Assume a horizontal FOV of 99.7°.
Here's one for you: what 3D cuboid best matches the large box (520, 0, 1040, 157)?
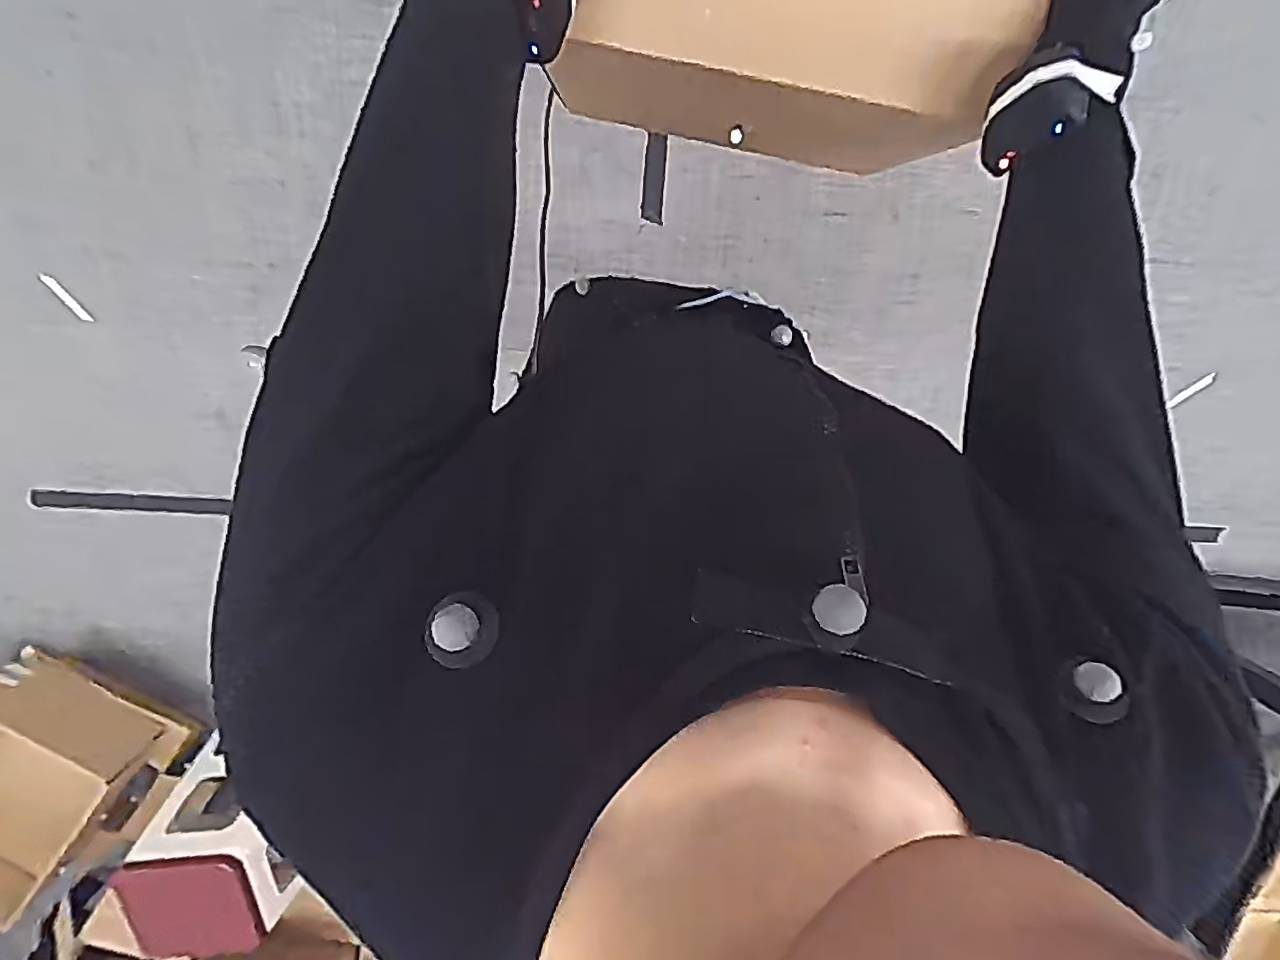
[{"bbox_3d":[0.129,-0.529,0.510,0.408,0.320,0.320,10,113,-3],"label":"large box"}]
